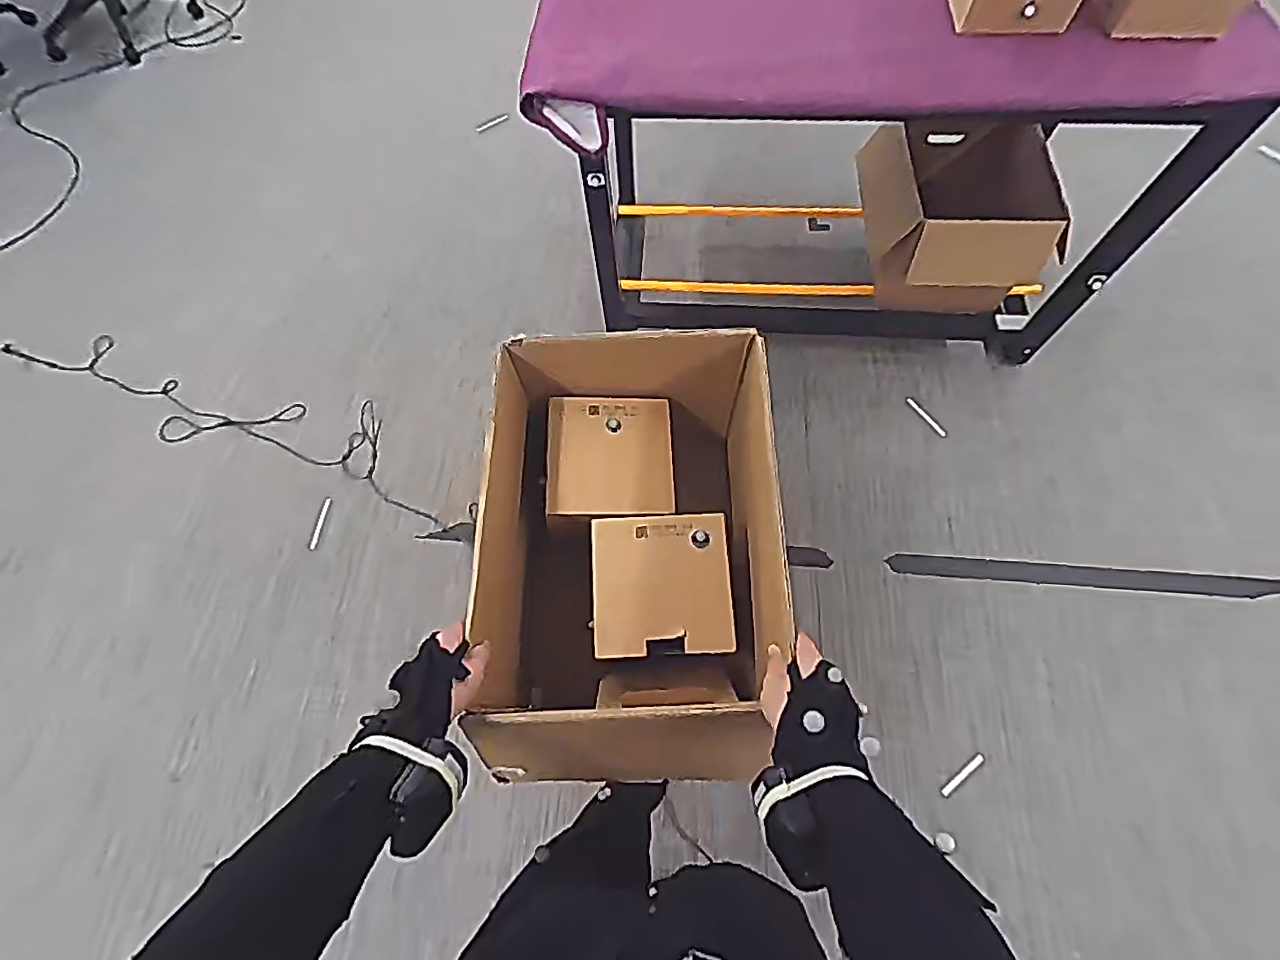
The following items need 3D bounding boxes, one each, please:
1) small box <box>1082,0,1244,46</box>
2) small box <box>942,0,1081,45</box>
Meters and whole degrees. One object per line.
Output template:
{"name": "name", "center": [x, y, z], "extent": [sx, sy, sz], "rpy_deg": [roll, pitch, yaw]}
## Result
{"name": "small box", "center": [0.884, -0.842, 0.879], "extent": [0.179, 0.176, 0.168], "rpy_deg": [4, 64, 4]}
{"name": "small box", "center": [0.640, -0.868, 0.901], "extent": [0.179, 0.176, 0.168], "rpy_deg": [4, 65, 5]}
